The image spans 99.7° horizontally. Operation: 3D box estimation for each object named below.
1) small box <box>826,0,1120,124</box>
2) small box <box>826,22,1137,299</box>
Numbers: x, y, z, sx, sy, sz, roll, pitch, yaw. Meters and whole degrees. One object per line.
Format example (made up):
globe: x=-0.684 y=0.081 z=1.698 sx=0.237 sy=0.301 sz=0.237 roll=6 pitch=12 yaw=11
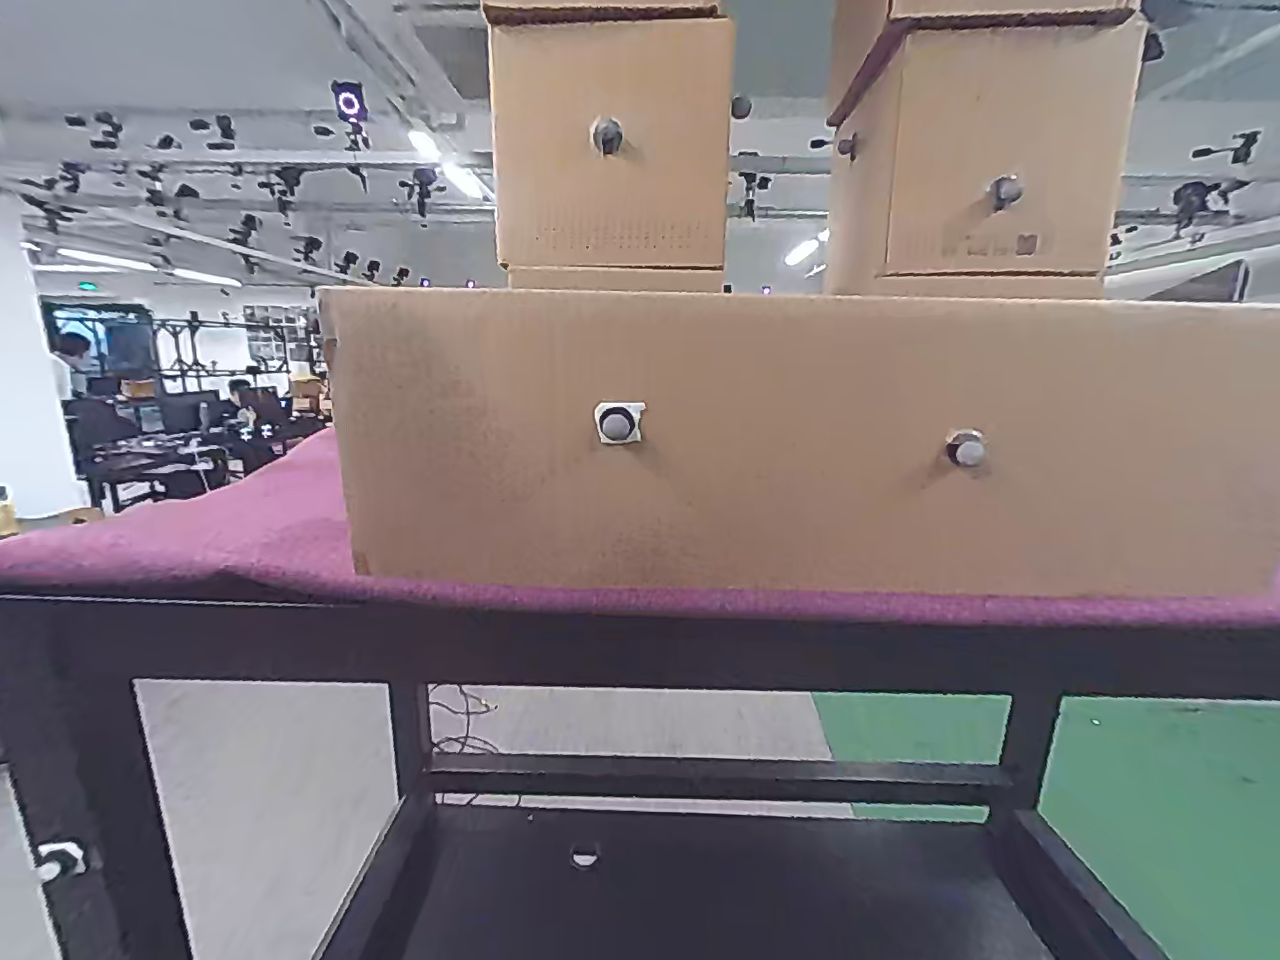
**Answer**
small box: x=0.259 y=-0.414 z=0.441 sx=0.168 sy=0.176 sz=0.179 roll=1 pitch=13 yaw=4
small box: x=0.272 y=-0.256 z=0.480 sx=0.168 sy=0.176 sz=0.179 roll=0 pitch=13 yaw=3
